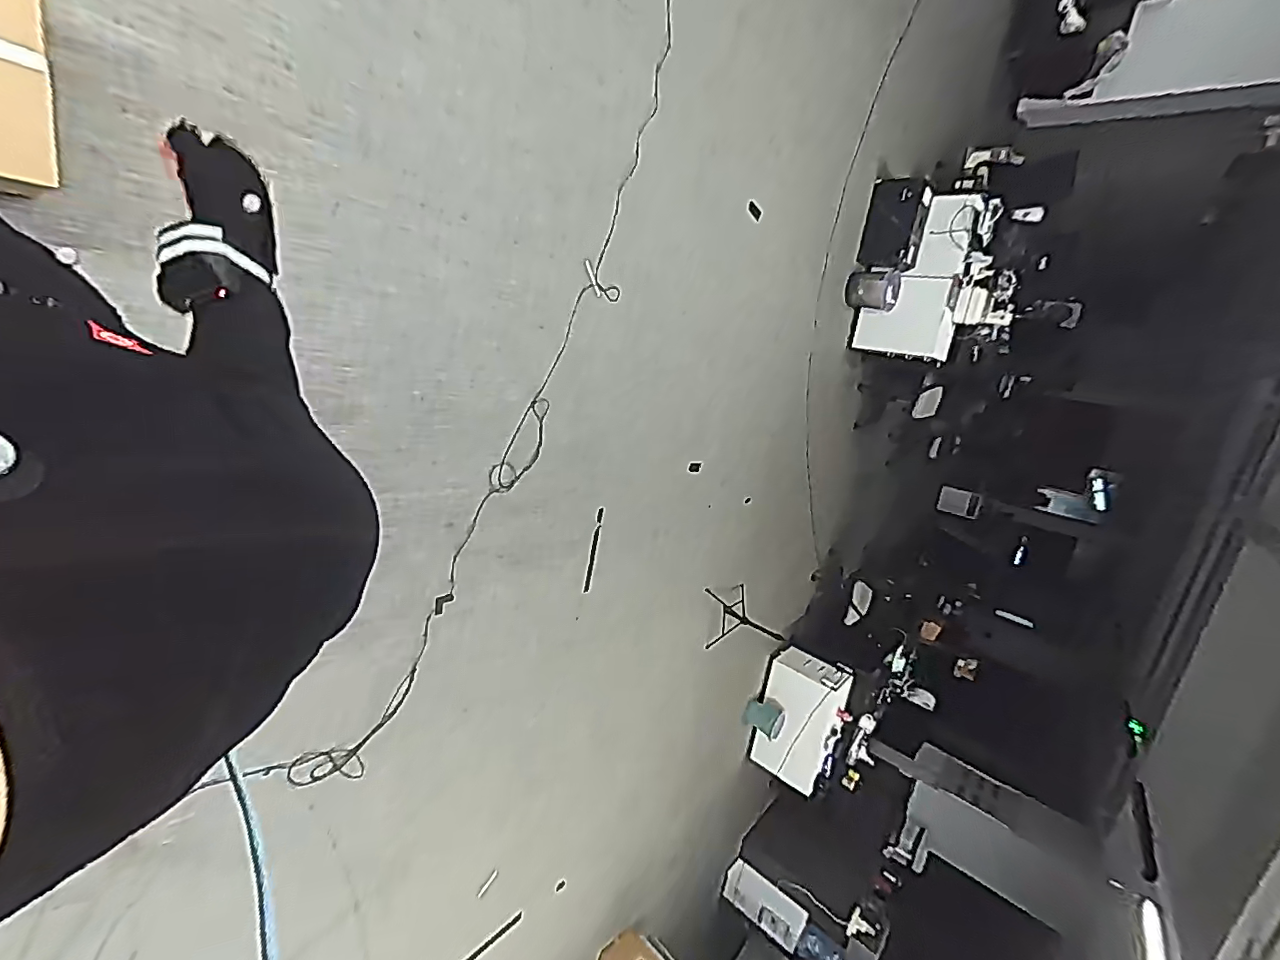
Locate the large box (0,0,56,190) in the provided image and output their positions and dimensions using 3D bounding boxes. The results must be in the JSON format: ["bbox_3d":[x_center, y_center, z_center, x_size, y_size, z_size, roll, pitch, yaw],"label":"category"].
[{"bbox_3d":[-1.057,-0.593,0.673,0.408,0.320,0.320,-9,113,-51],"label":"large box"}]
